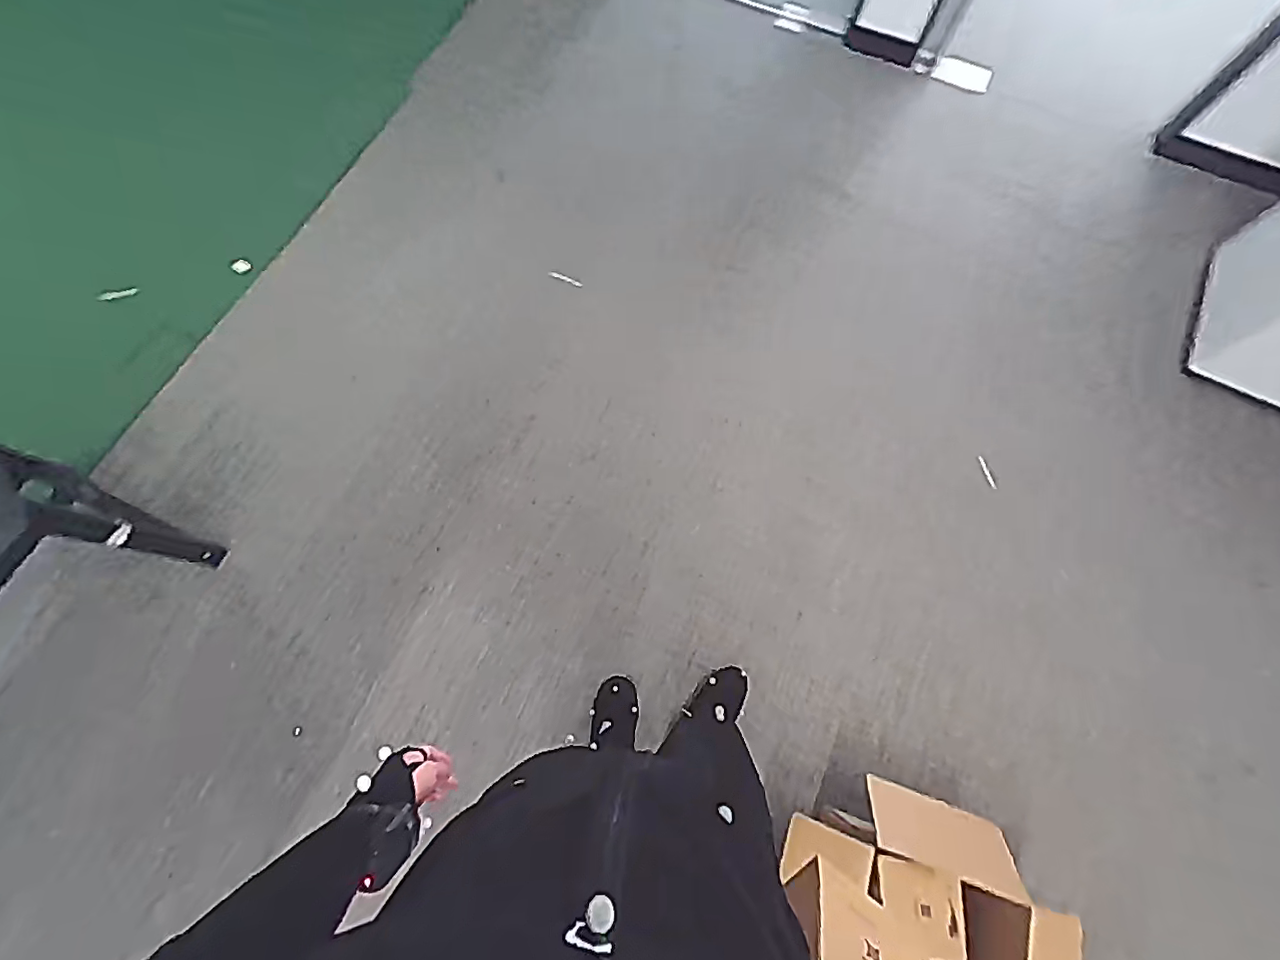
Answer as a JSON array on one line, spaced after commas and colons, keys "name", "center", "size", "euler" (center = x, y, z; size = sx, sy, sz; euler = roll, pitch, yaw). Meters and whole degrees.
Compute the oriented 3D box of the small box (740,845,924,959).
[{"name": "small box", "center": [0.237, 0.629, 0.680], "size": [0.168, 0.179, 0.176], "euler": [38, 107, 8]}]
